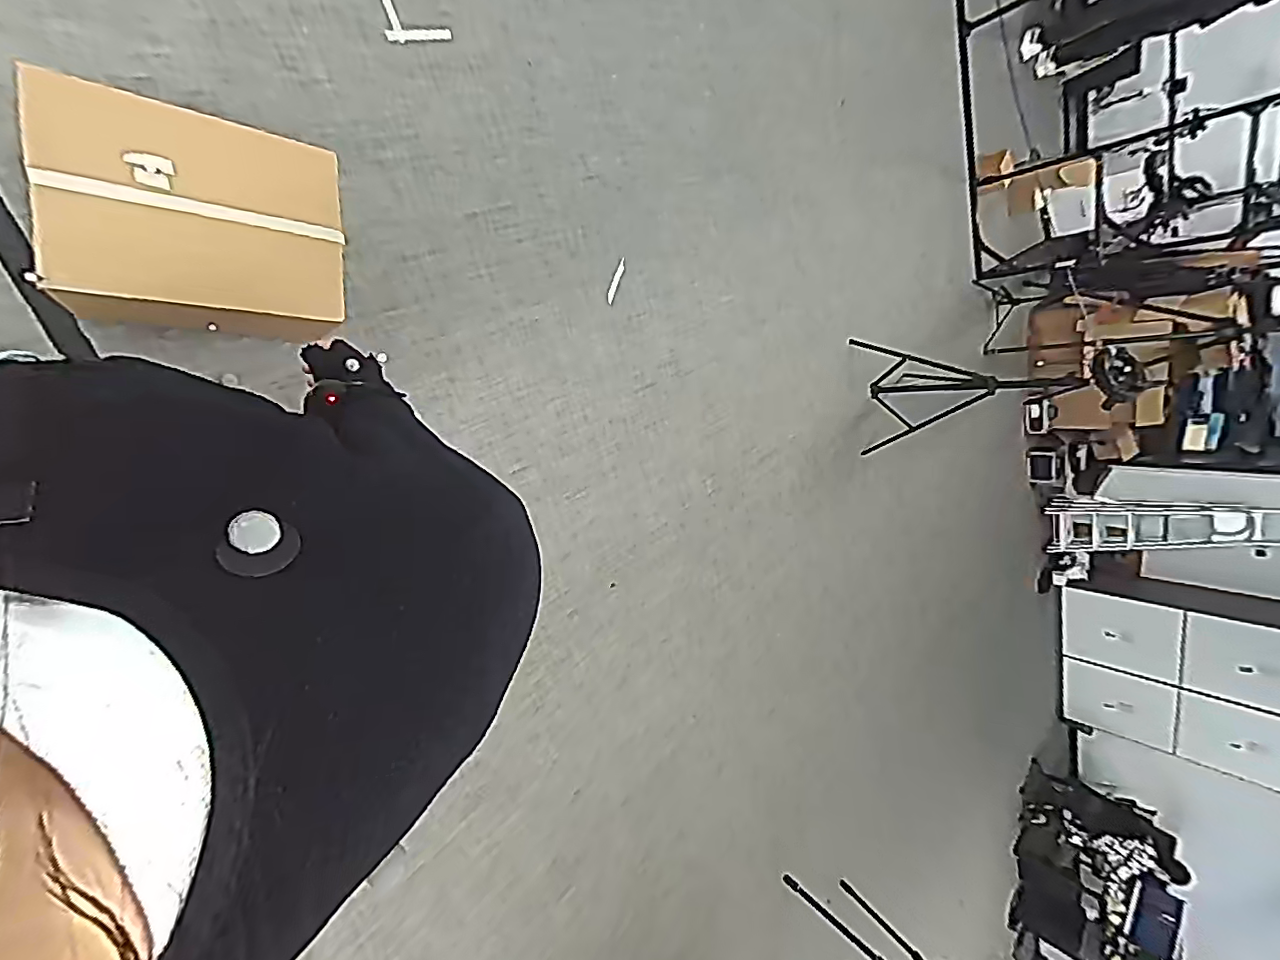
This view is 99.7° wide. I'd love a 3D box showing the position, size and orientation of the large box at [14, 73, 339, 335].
[{"bbox_3d":[-0.831,-0.461,1.026,0.408,0.320,0.320,-4,97,-38],"label":"large box"}]
